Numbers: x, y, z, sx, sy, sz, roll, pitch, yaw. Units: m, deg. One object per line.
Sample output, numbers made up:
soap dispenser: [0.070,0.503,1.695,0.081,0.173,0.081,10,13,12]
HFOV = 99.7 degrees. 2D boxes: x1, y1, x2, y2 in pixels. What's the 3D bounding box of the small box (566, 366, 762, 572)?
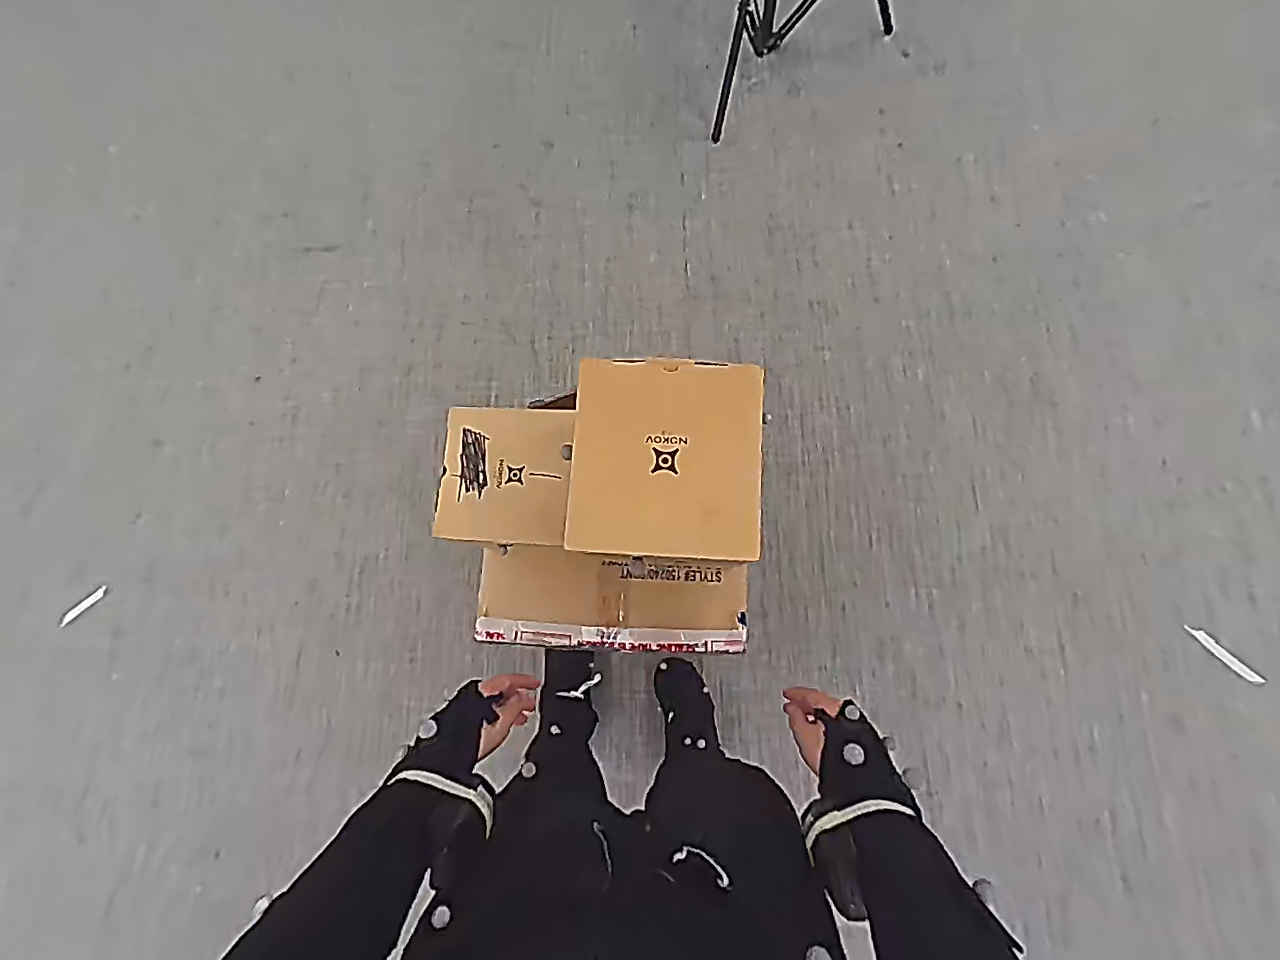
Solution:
small box: [0.028,0.001,0.545,0.168,0.176,0.179,2,78,4]
